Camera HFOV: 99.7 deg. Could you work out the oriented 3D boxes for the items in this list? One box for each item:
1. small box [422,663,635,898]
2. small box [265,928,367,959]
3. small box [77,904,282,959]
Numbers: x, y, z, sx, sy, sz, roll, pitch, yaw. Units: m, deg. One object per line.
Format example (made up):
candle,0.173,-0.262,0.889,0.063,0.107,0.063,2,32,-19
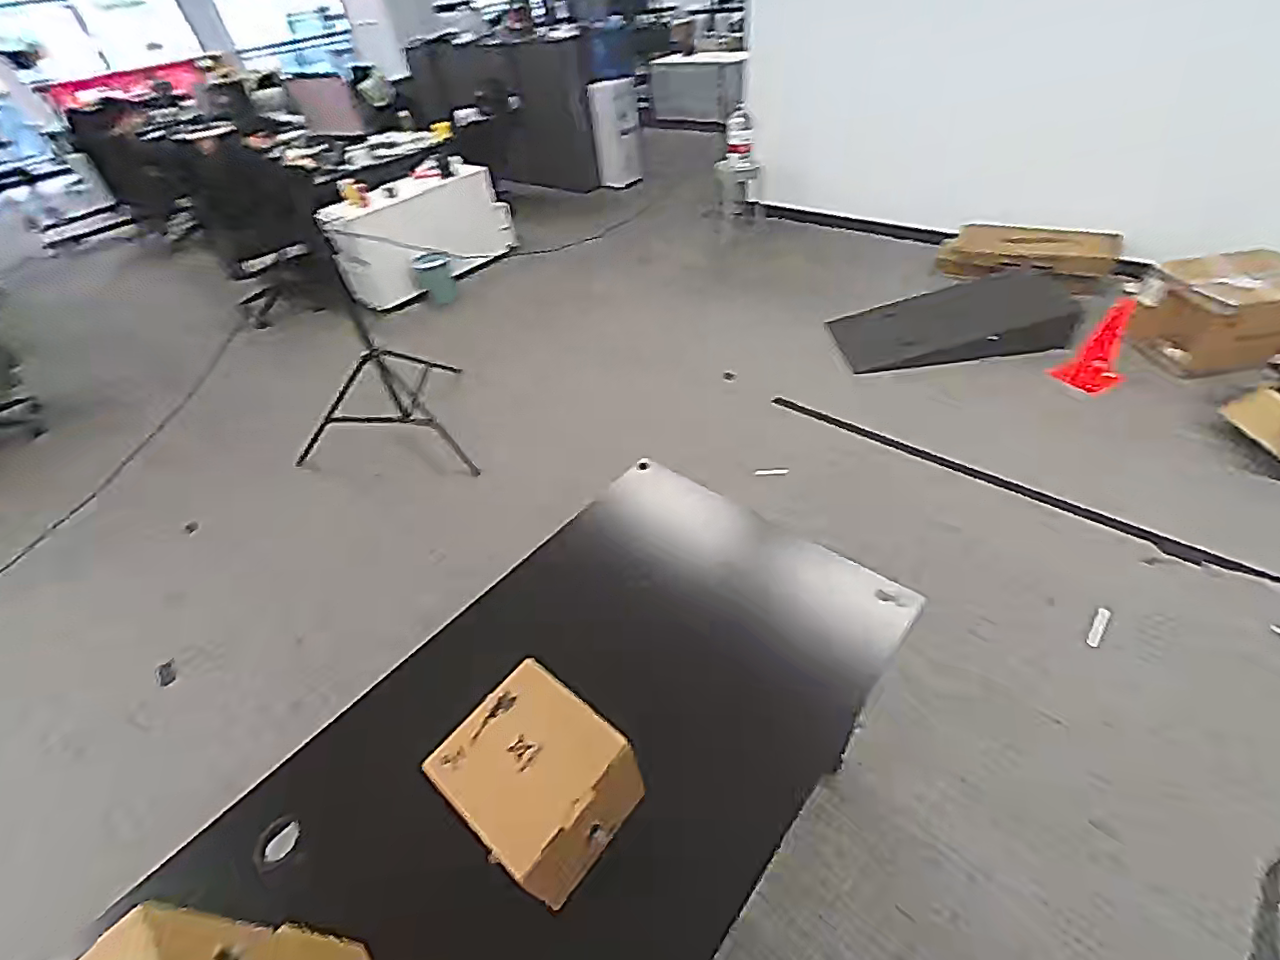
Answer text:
small box,-0.123,0.370,0.665,0.179,0.176,0.168,27,54,32
small box,-0.332,0.568,0.488,0.168,0.176,0.179,29,54,33
small box,-0.351,0.453,0.375,0.179,0.176,0.168,29,56,32
